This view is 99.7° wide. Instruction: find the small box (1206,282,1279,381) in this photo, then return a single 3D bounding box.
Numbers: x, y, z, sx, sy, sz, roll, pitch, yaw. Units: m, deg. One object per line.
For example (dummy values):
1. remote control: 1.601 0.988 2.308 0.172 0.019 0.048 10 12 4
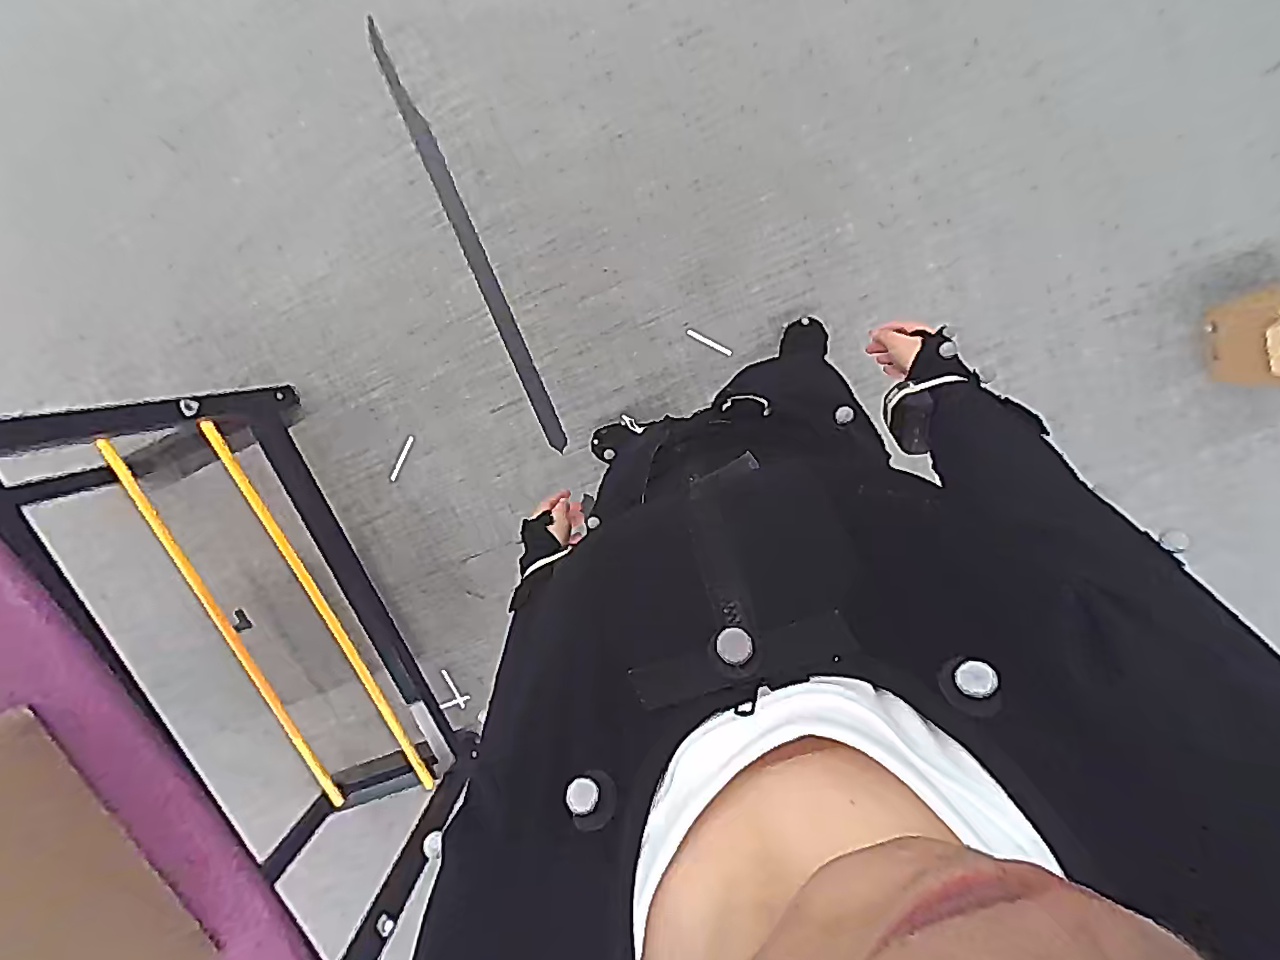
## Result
1. small box: 1.338 -0.310 1.120 0.179 0.176 0.168 -22 102 9
